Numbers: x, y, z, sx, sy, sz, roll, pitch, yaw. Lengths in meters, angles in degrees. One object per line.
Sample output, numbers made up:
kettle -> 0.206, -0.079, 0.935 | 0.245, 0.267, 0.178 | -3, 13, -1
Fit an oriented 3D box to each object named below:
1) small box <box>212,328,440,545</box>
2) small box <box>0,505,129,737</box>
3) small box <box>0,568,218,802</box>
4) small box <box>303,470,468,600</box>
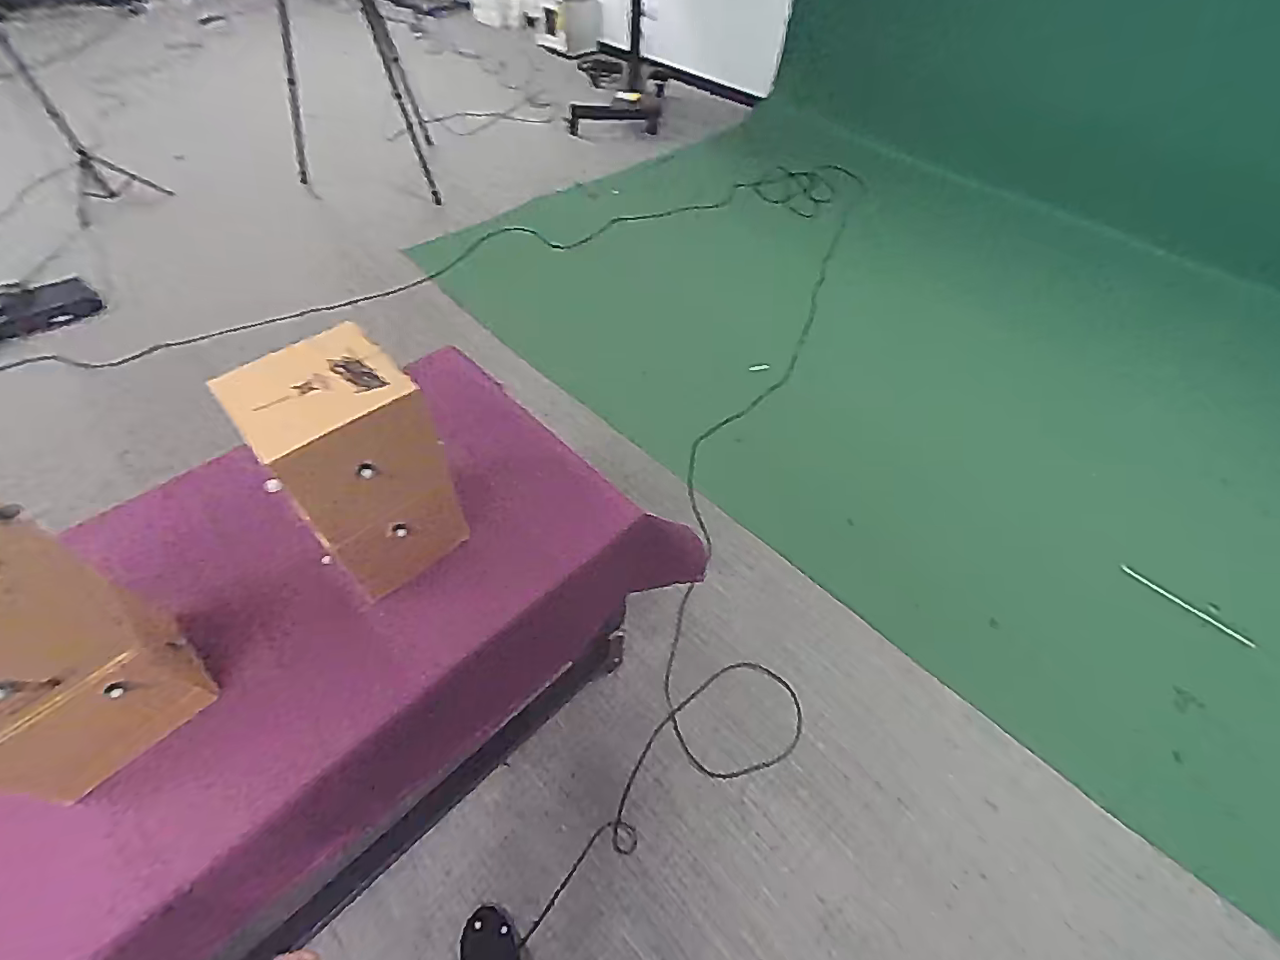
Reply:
small box -> -0.377, -0.054, 0.686 | 0.179, 0.176, 0.168 | -37, 63, -26
small box -> -0.667, 0.137, 0.524 | 0.179, 0.176, 0.168 | 36, 58, 23
small box -> -0.669, 0.248, 0.647 | 0.168, 0.176, 0.179 | 36, 58, 23
small box -> -0.387, 0.048, 0.814 | 0.179, 0.176, 0.168 | -36, 62, -27
